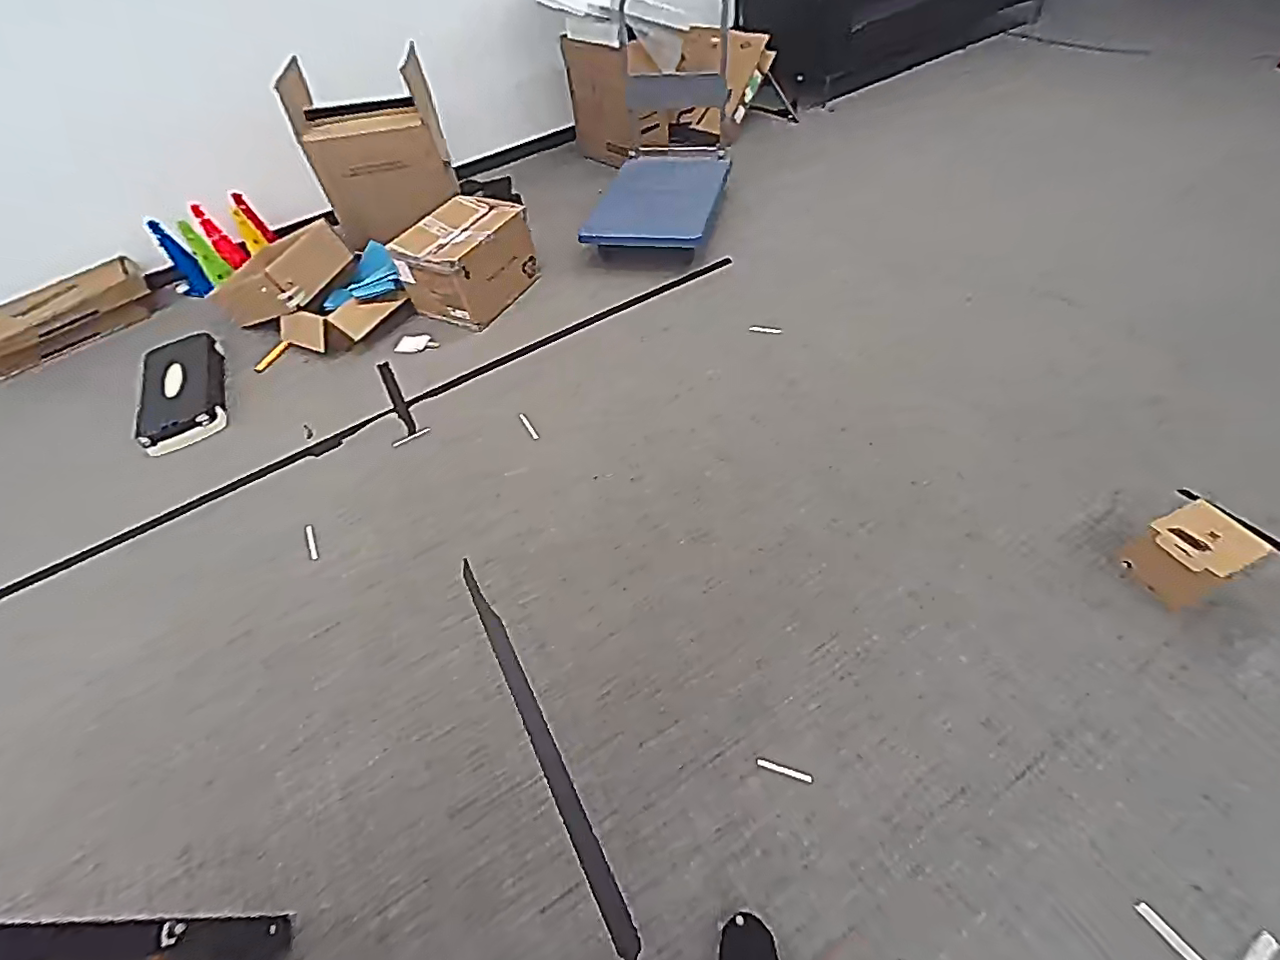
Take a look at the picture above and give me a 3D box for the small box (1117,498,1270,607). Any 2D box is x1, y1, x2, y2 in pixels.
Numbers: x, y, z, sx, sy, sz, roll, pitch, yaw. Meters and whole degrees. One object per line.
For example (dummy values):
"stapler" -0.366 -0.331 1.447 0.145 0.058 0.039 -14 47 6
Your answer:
"small box" 1.324 0.180 1.315 0.179 0.176 0.168 -22 51 -10
